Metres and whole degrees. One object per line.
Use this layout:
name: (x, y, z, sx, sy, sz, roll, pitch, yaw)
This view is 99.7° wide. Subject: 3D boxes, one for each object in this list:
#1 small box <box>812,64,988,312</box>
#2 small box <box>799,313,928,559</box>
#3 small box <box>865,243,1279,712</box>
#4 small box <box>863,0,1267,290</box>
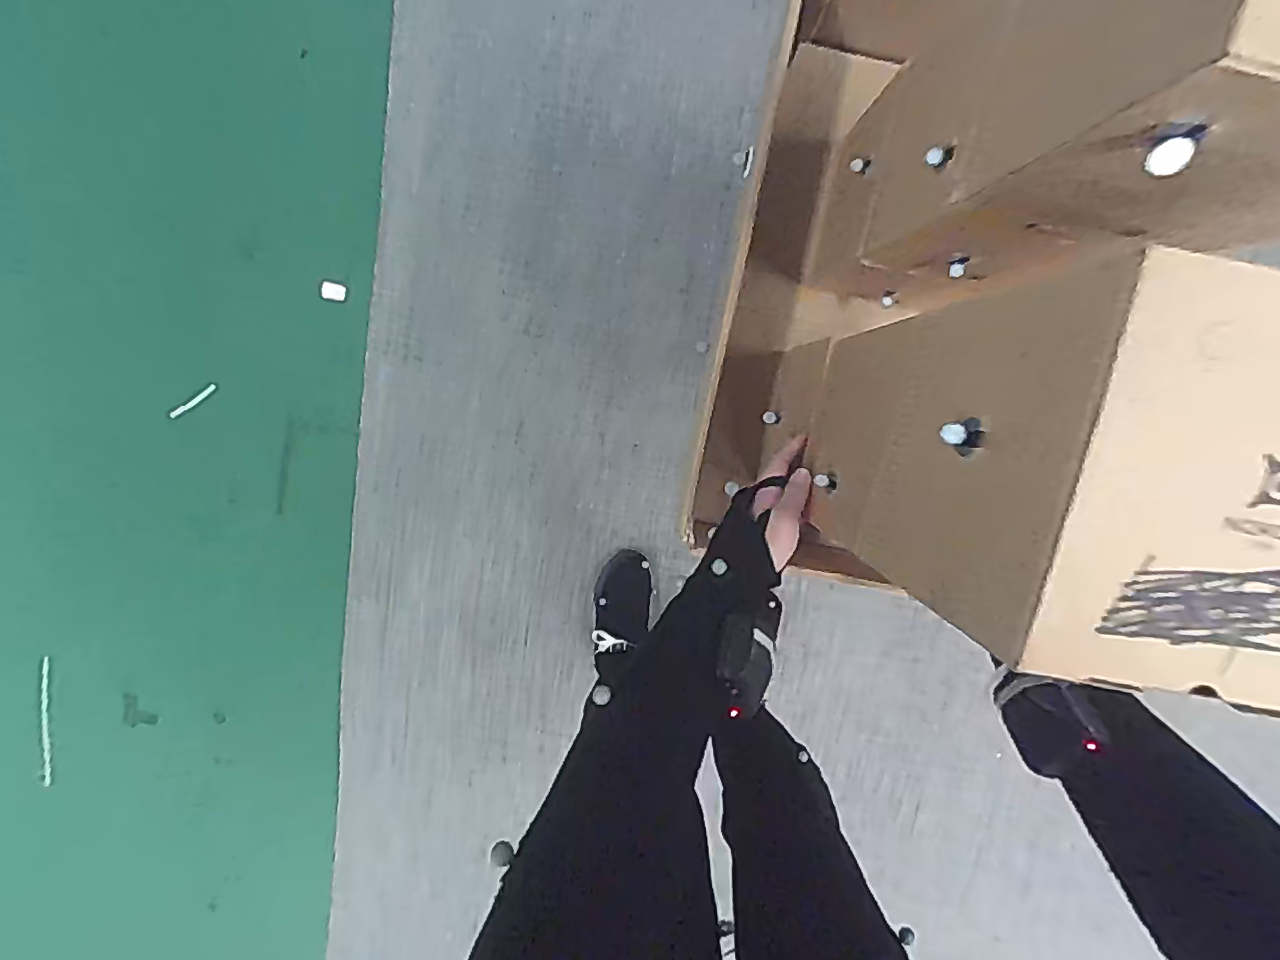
small box: (0.305, -0.296, 0.589, 0.168, 0.176, 0.179, 11, 100, -1)
small box: (0.250, -0.026, 0.462, 0.168, 0.176, 0.179, 12, 98, -2)
small box: (0.249, -0.004, 0.300, 0.168, 0.176, 0.179, 10, 98, -2)
small box: (0.303, -0.266, 0.430, 0.168, 0.176, 0.179, 10, 101, -2)
